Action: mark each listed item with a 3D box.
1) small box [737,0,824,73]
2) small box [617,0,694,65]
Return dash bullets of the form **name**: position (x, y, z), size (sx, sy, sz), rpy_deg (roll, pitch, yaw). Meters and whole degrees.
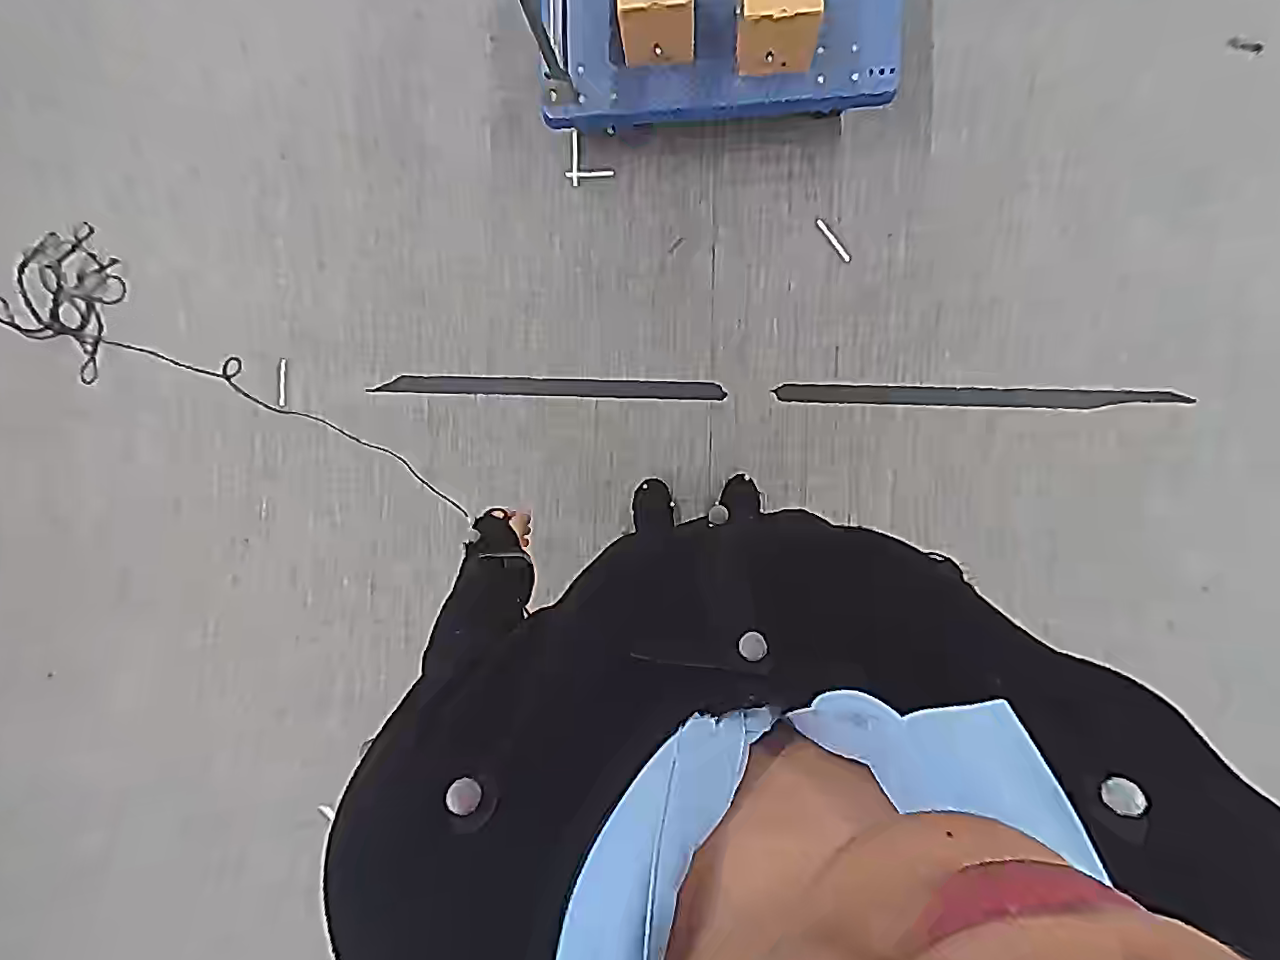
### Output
- **small box**: position (0.308, -1.060, 1.208), size (0.168, 0.176, 0.179), rpy_deg (-1, 91, 5)
- **small box**: position (0.038, -1.098, 1.232), size (0.168, 0.176, 0.179), rpy_deg (-1, 91, 6)
